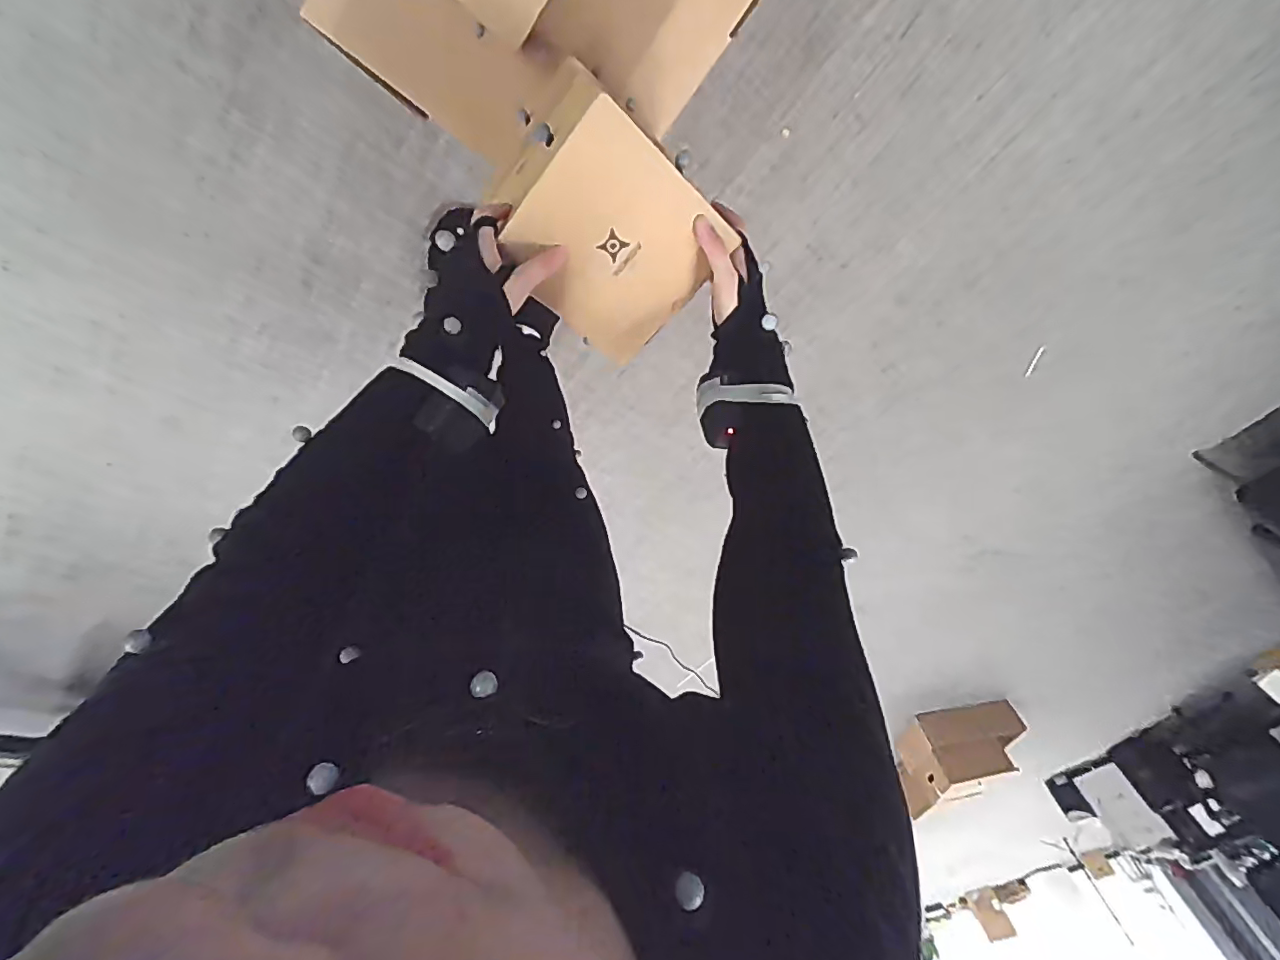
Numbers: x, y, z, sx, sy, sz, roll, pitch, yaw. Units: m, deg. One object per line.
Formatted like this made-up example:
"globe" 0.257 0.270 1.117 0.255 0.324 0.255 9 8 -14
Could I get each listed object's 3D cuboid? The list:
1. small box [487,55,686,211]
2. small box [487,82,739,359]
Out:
"small box" -0.076 -0.383 0.671 0.168 0.176 0.179 28 118 -33
"small box" -0.036 -0.264 0.549 0.179 0.176 0.168 30 118 -34
